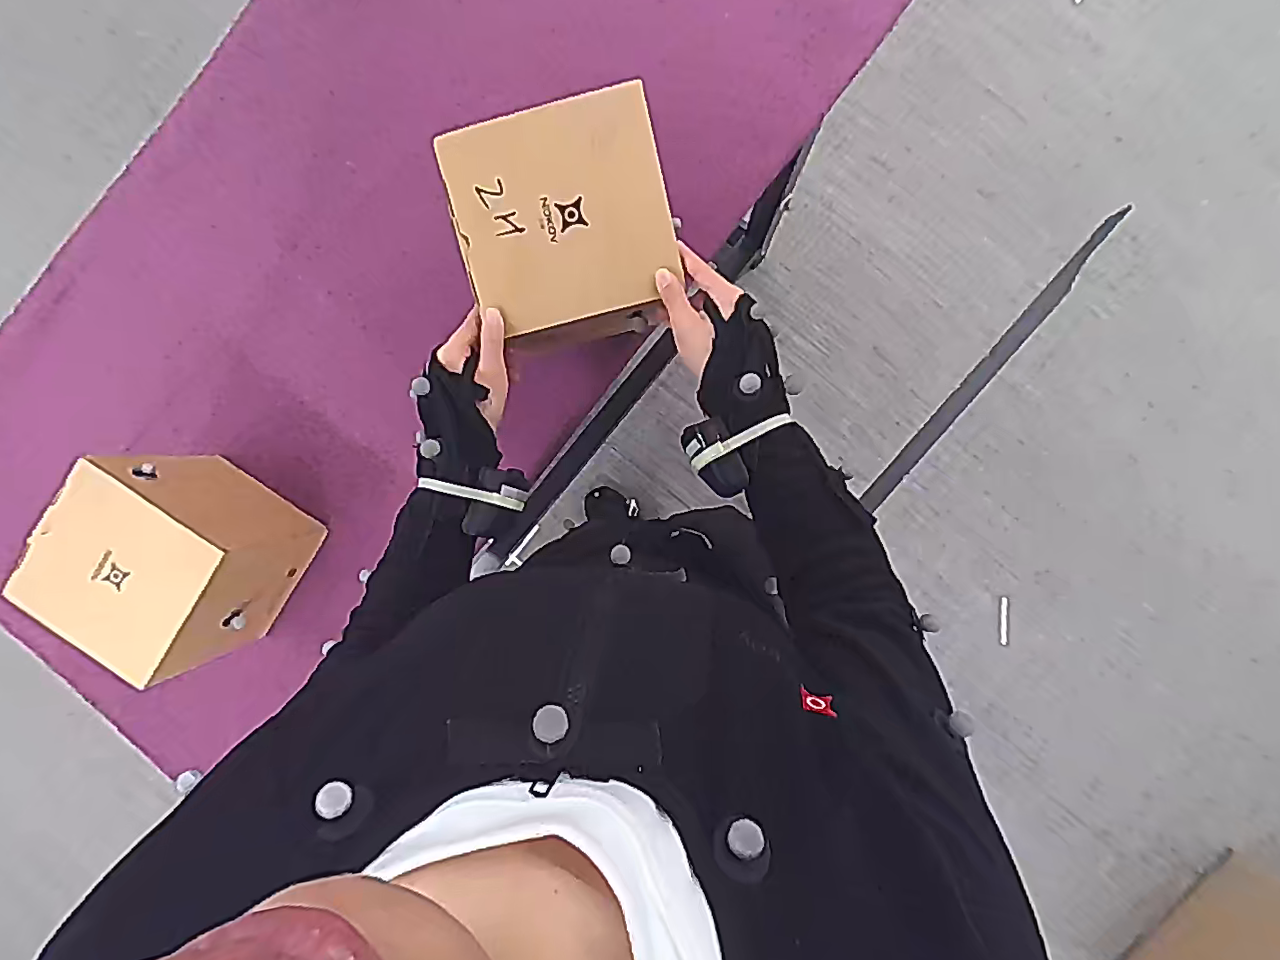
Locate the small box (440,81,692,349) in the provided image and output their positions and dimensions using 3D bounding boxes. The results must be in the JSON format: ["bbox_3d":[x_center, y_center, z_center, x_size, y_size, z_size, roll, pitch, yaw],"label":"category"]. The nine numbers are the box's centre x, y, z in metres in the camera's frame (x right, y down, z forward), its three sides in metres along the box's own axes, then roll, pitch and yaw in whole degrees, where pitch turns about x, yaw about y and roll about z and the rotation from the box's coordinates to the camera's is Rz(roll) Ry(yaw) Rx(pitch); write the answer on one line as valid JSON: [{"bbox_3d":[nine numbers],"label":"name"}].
[{"bbox_3d":[-0.057,-0.228,0.515,0.179,0.176,0.168,-12,98,4],"label":"small box"}]

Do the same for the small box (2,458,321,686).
[{"bbox_3d":[-0.508,0.086,0.604,0.179,0.176,0.168,33,93,2],"label":"small box"}]
